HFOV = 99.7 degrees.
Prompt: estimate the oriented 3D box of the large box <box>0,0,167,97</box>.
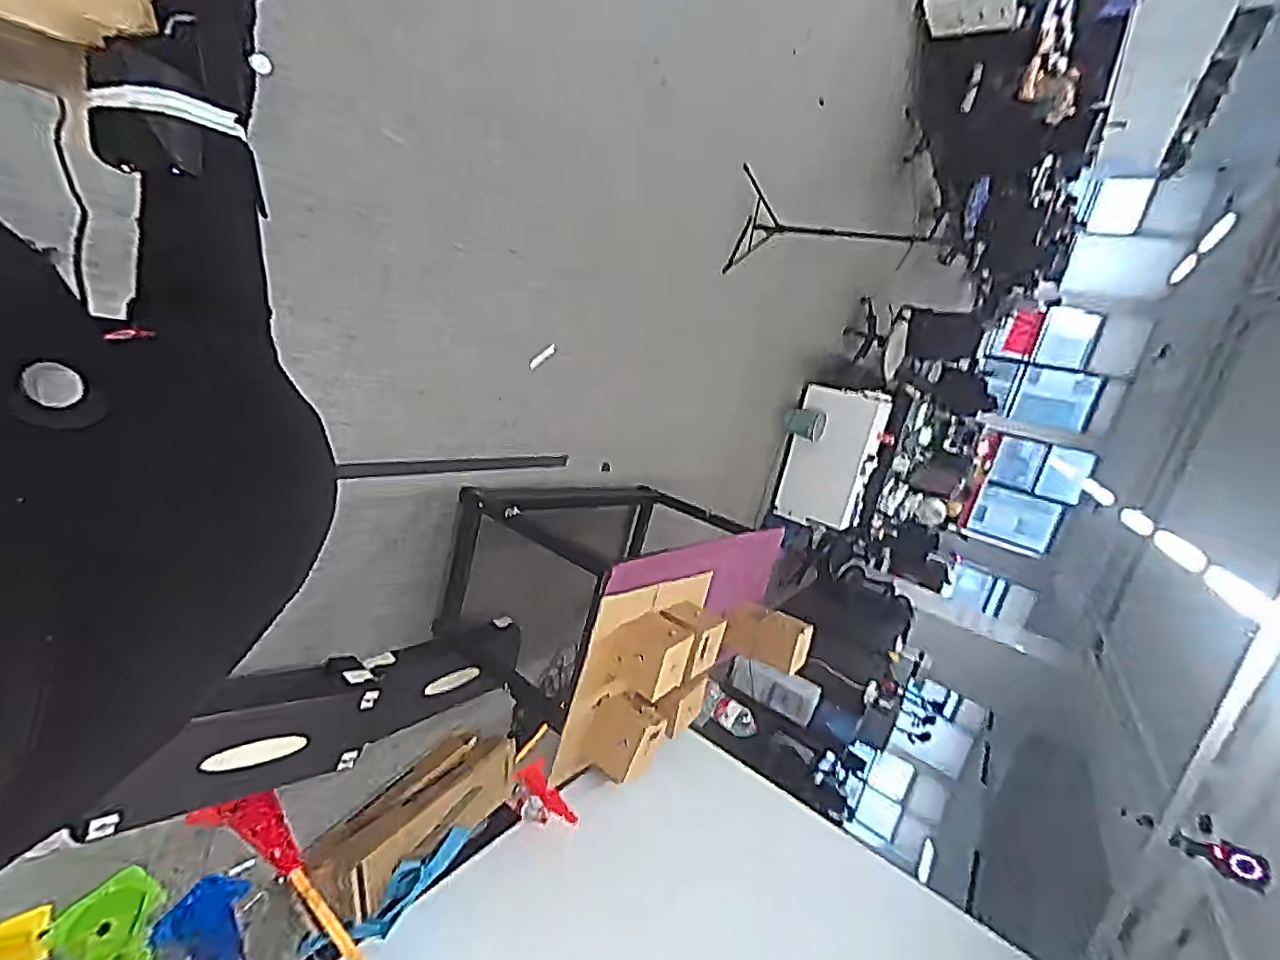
[{"bbox_3d":[-0.529,-0.439,0.248,0.408,0.320,0.320,-11,119,-54],"label":"large box"}]
